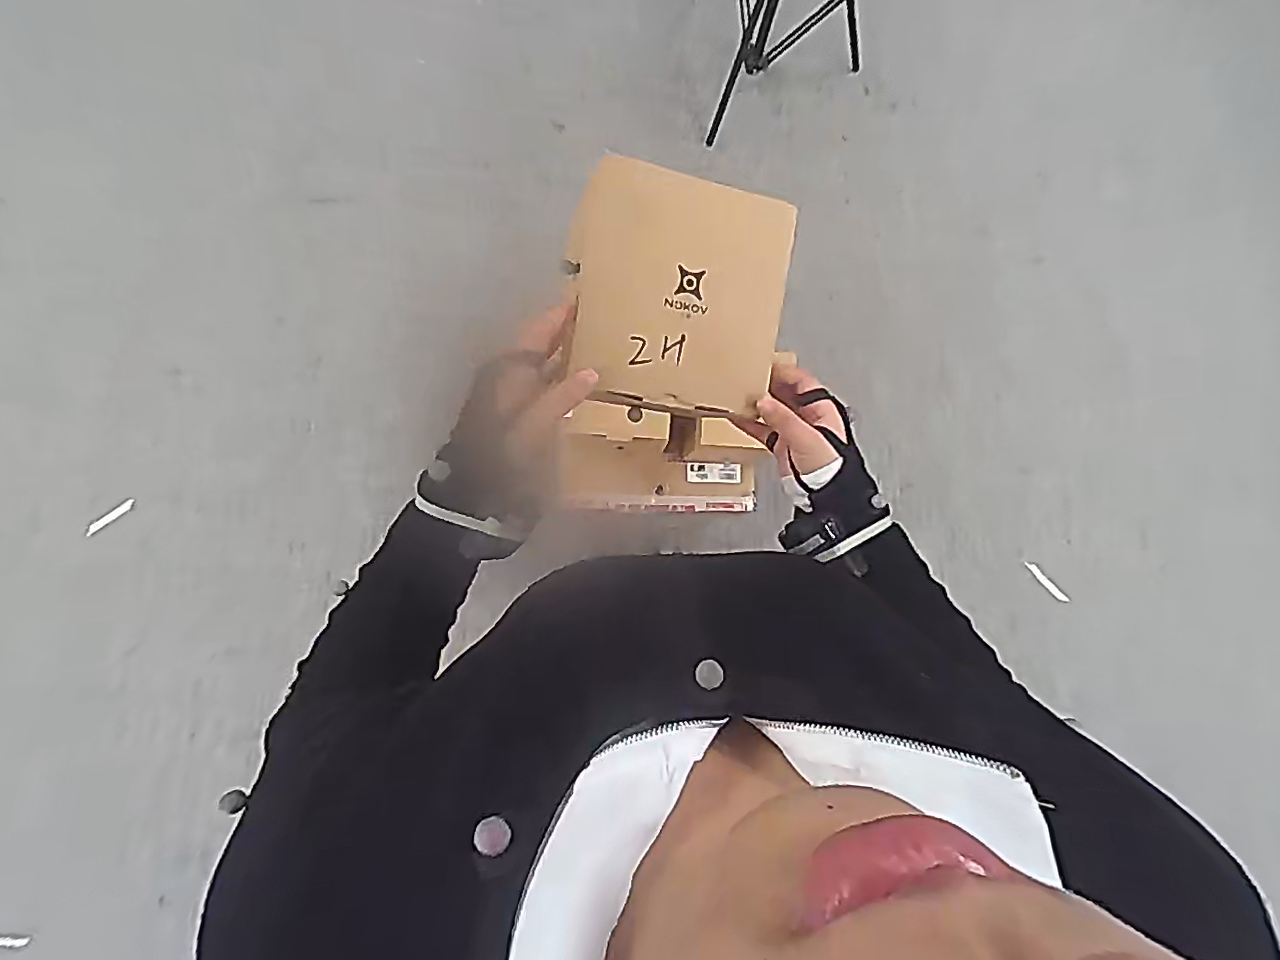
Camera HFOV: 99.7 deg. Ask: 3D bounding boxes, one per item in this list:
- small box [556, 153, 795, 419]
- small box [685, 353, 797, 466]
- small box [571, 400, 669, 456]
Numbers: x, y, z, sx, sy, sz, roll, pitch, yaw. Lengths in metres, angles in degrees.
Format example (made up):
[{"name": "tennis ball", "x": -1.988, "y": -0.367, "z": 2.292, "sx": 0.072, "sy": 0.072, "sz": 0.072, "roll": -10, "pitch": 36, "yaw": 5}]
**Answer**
[{"name": "small box", "x": 0.018, "y": -0.155, "z": 0.500, "sx": 0.168, "sy": 0.176, "sz": 0.179, "roll": 7, "pitch": 95, "yaw": -14}, {"name": "small box", "x": 0.179, "y": -0.128, "z": 1.002, "sx": 0.168, "sy": 0.176, "sz": 0.179, "roll": 4, "pitch": 83, "yaw": -5}, {"name": "small box", "x": -0.030, "y": -0.143, "z": 0.988, "sx": 0.168, "sy": 0.176, "sz": 0.179, "roll": 4, "pitch": 83, "yaw": -1}]
